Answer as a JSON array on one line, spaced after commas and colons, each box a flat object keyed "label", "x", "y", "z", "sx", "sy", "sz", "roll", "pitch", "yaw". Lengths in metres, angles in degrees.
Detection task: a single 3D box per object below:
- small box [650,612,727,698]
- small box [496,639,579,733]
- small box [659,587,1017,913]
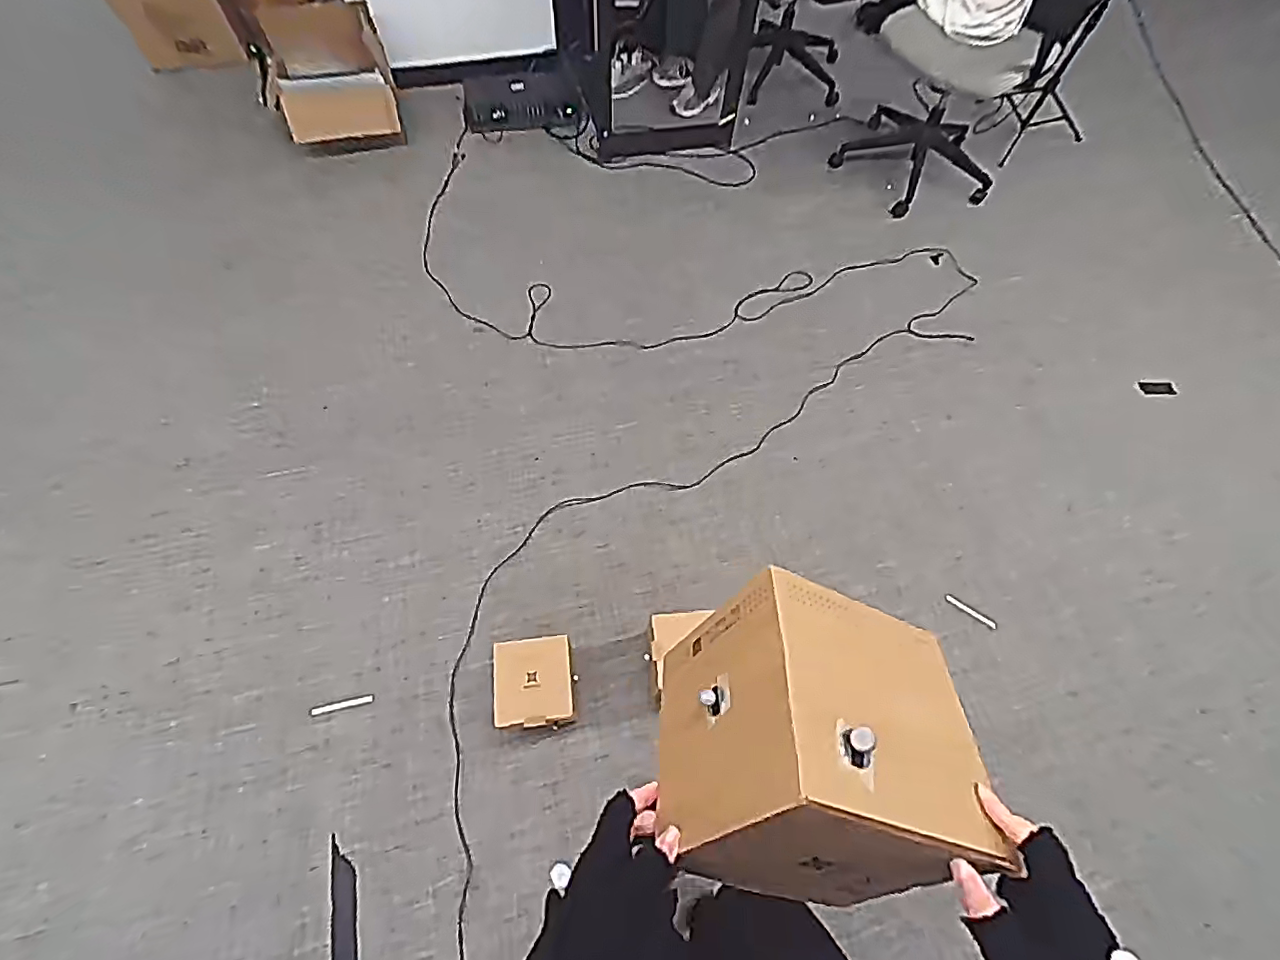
[{"label": "small box", "x": 0.116, "y": 0.419, "z": 1.284, "sx": 0.179, "sy": 0.176, "sz": 0.168, "roll": -3, "pitch": 64, "yaw": -4}, {"label": "small box", "x": -0.231, "y": 0.476, "z": 1.241, "sx": 0.168, "sy": 0.176, "sz": 0.179, "roll": -5, "pitch": 64, "yaw": -6}, {"label": "small box", "x": 0.132, "y": 0.209, "z": 0.425, "sx": 0.179, "sy": 0.168, "sz": 0.176, "roll": 24, "pitch": 40, "yaw": -15}]
